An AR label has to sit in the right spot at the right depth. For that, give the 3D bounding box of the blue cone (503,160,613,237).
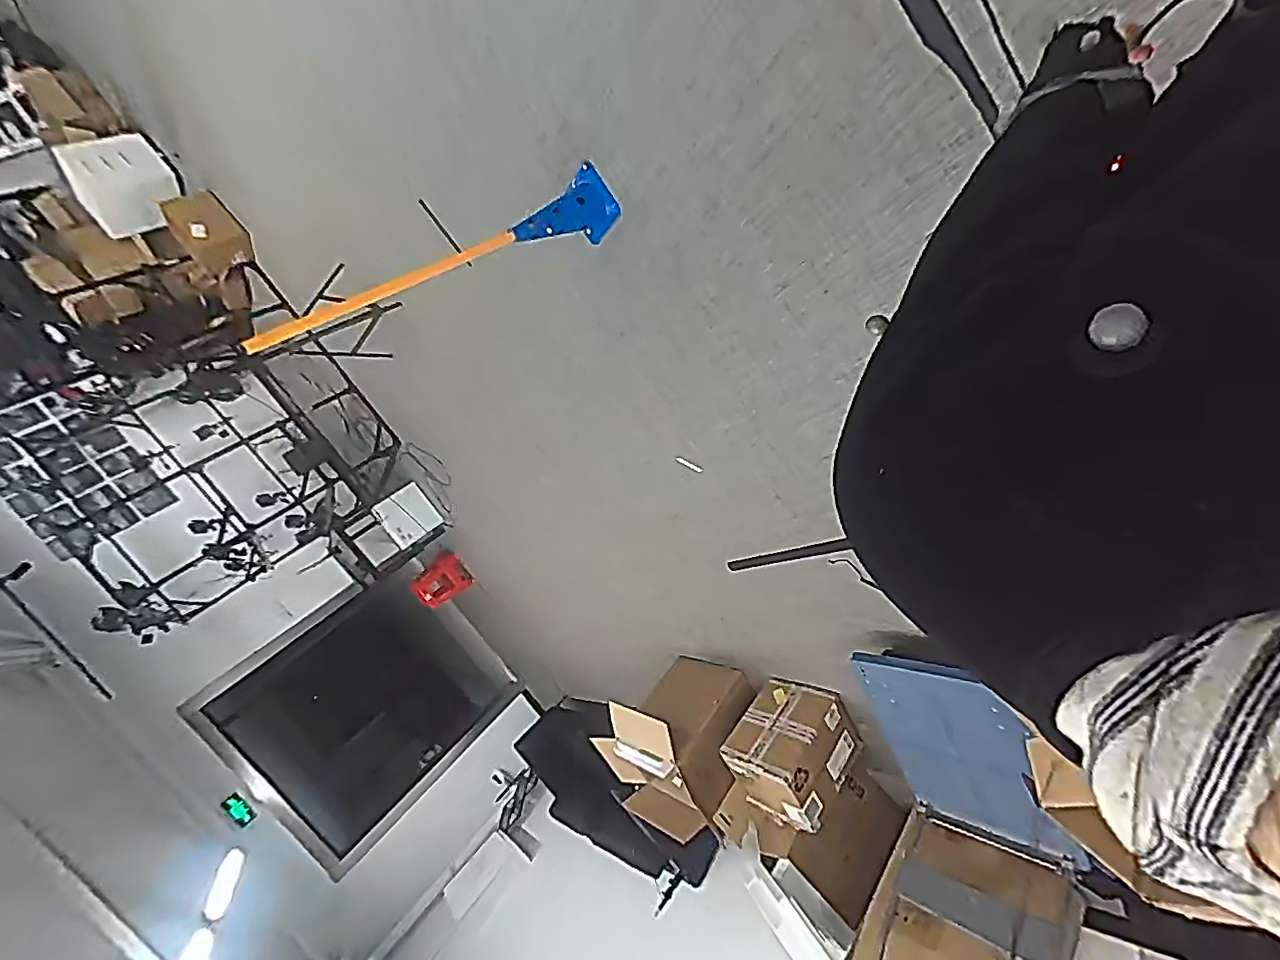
[{"bbox_3d":[-0.279,-0.850,1.728,0.192,0.380,0.193,56,146,-9],"label":"blue cone"}]
